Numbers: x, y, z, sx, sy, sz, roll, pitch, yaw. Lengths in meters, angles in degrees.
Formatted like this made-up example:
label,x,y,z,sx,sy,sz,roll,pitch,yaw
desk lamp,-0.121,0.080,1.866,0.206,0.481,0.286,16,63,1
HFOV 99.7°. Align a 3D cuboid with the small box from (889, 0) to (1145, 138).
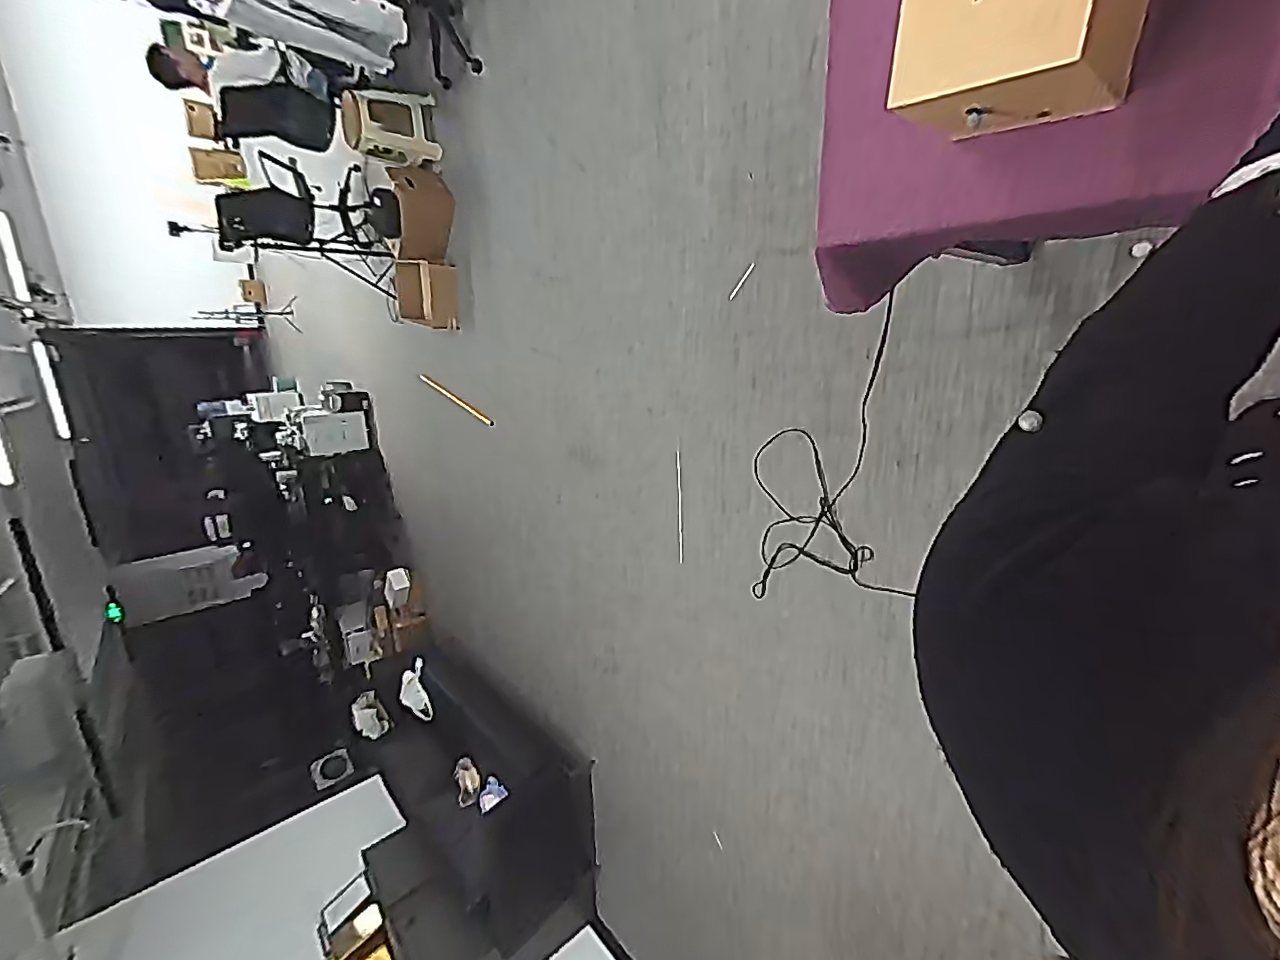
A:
label,x,y,z,sx,sy,sz,roll,pitch,yaw
small box,0.379,-0.462,0.538,0.168,0.176,0.179,21,115,46
